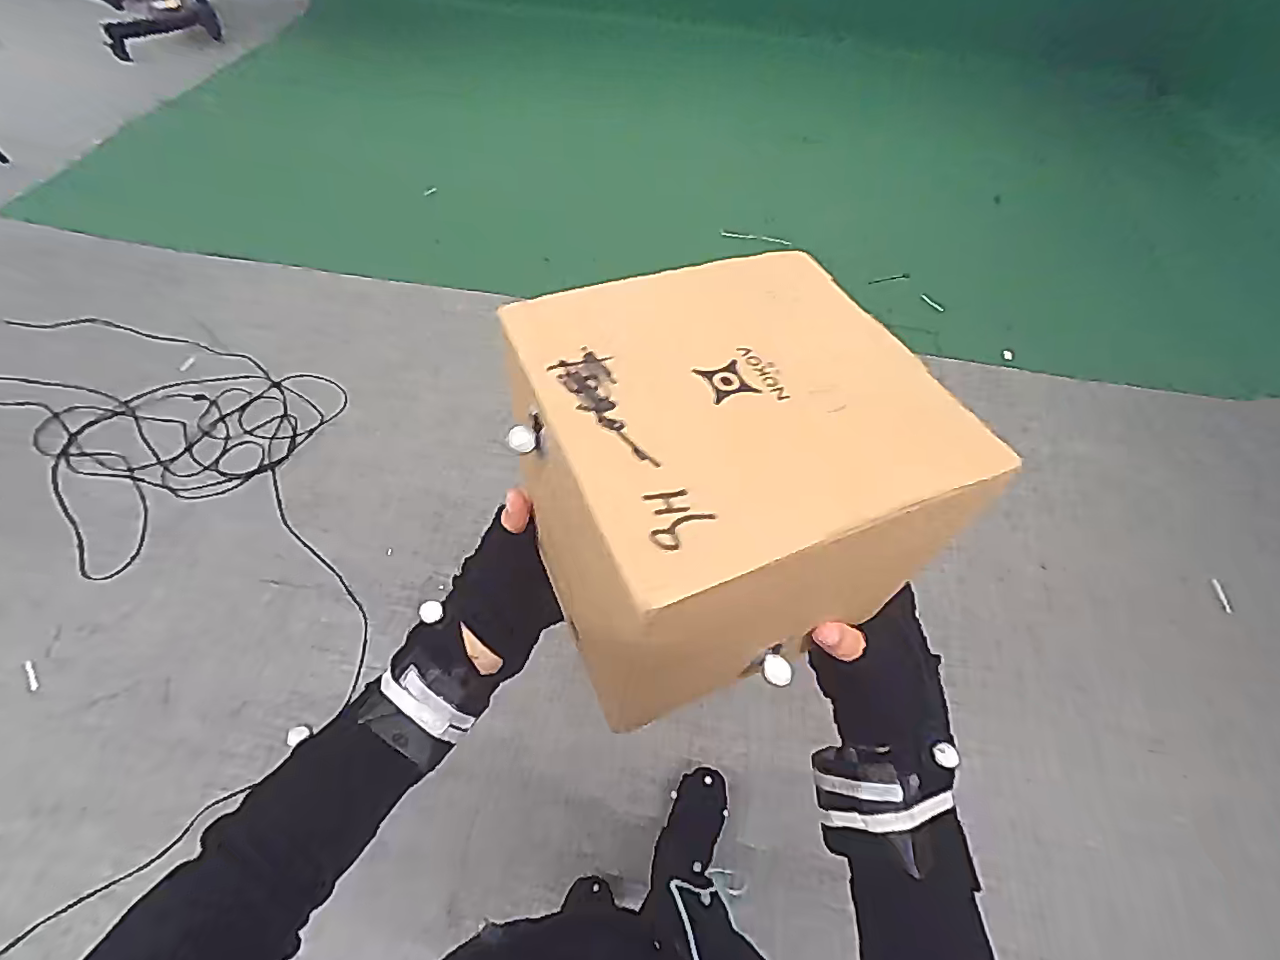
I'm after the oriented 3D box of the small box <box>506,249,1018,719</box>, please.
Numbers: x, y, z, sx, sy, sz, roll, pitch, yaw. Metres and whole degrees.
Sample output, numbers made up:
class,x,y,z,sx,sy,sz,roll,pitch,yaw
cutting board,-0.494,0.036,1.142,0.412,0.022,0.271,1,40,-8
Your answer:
class,x,y,z,sx,sy,sz,roll,pitch,yaw
small box,0.038,0.003,0.298,0.179,0.176,0.168,-17,56,-18
